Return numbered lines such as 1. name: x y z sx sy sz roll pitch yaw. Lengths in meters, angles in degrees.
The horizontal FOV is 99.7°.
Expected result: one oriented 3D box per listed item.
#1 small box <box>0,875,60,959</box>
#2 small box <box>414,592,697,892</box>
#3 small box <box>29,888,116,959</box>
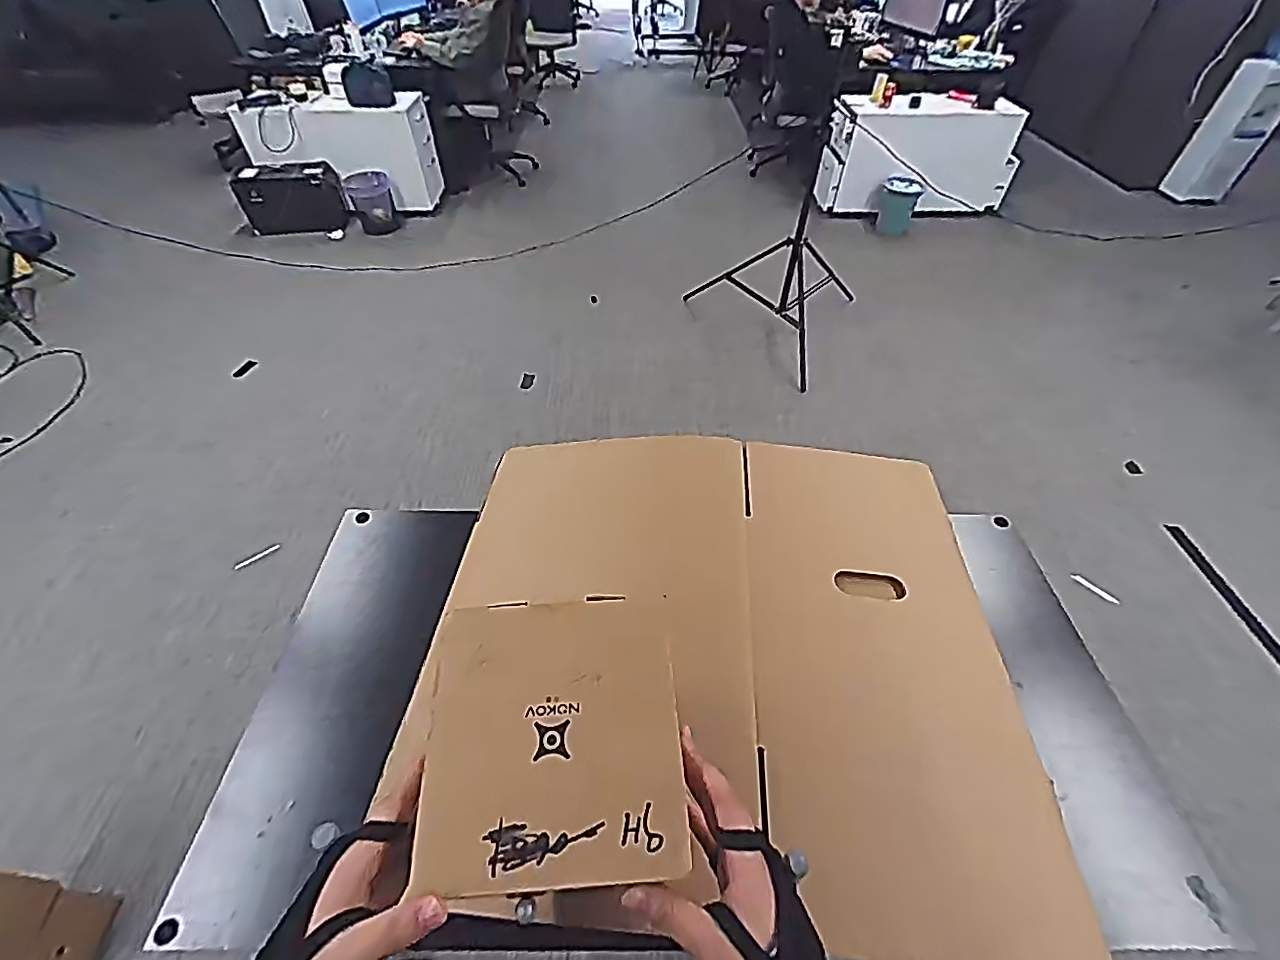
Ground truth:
1. small box: -1.201 0.811 0.944 0.168 0.176 0.179 -5 47 -6
2. small box: -0.050 0.206 0.421 0.168 0.176 0.179 -5 55 0
3. small box: -1.200 0.924 1.061 0.168 0.176 0.179 -3 48 -3
